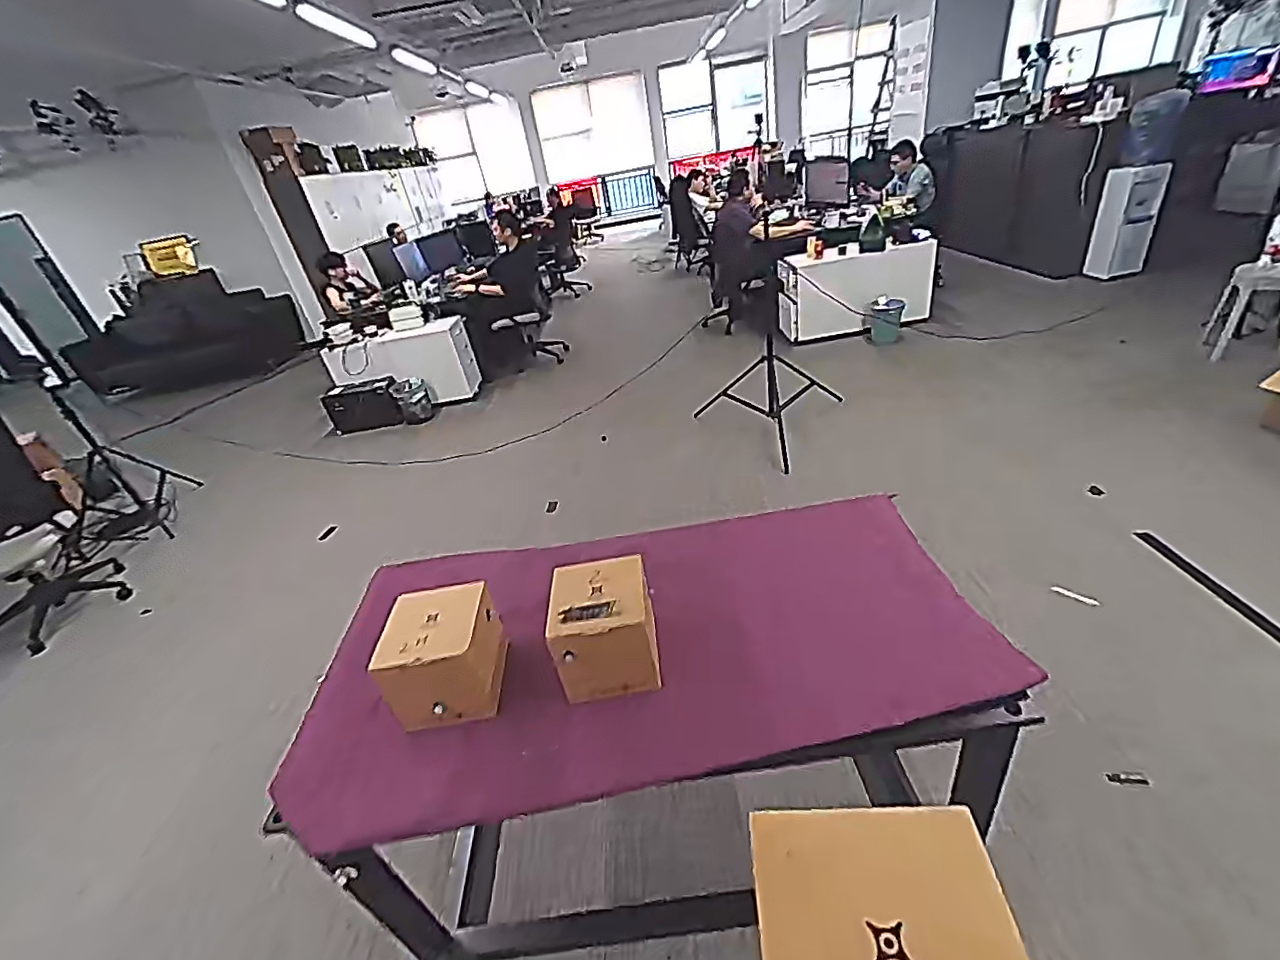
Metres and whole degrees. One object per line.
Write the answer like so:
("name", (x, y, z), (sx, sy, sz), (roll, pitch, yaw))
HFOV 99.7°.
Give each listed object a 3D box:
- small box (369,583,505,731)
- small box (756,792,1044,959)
("small box", (-0.350, 0.316, 0.973), (0.168, 0.176, 0.179), (-10, 31, 0))
("small box", (0.176, 0.356, 0.390), (0.168, 0.176, 0.179), (-6, 35, 8))
